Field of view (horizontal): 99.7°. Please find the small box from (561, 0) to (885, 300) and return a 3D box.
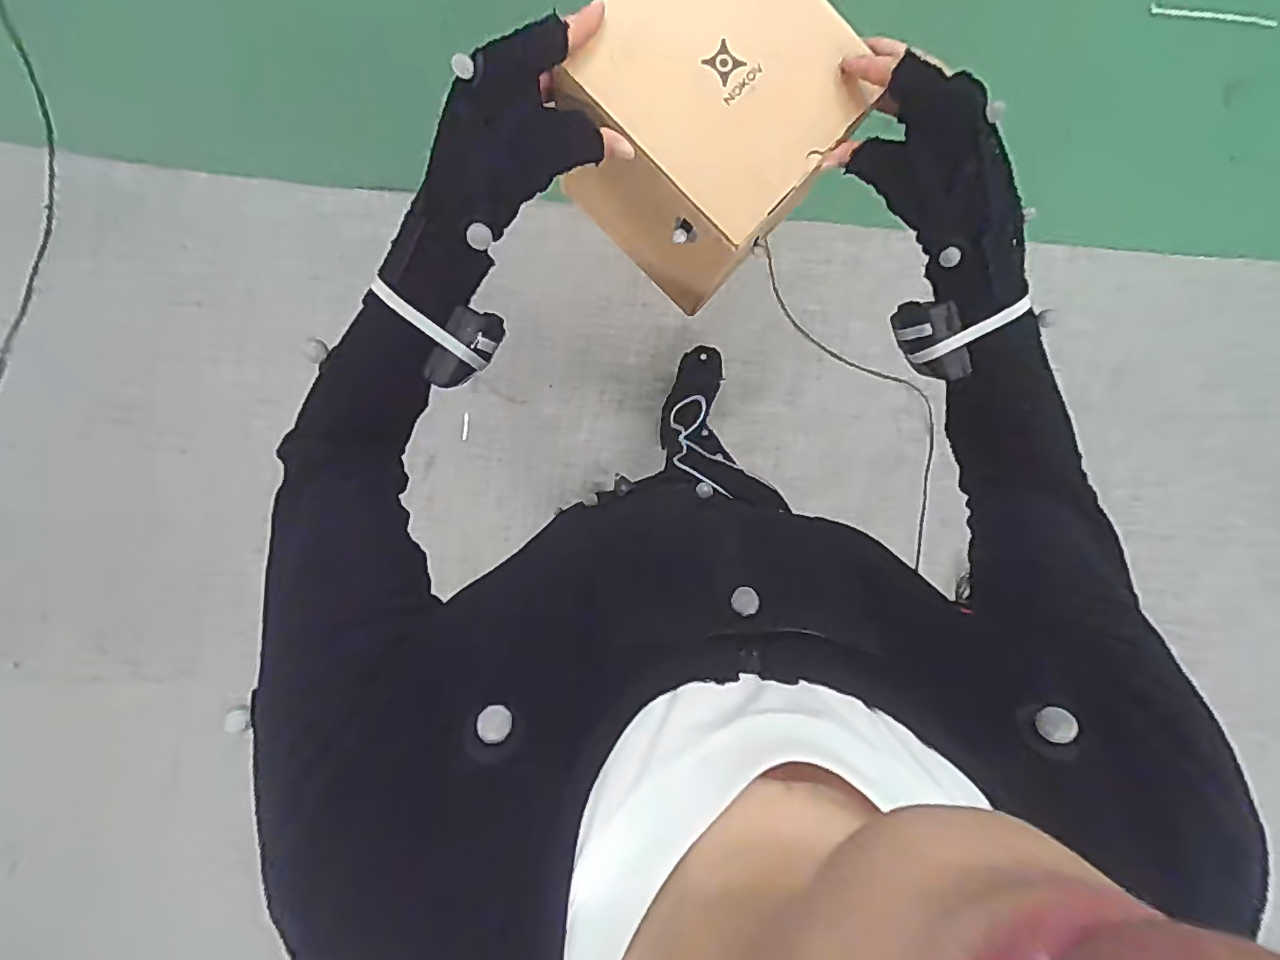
[{"bbox_3d":[0.050,-0.283,0.452,0.179,0.176,0.168,44,86,-7],"label":"small box"}]
